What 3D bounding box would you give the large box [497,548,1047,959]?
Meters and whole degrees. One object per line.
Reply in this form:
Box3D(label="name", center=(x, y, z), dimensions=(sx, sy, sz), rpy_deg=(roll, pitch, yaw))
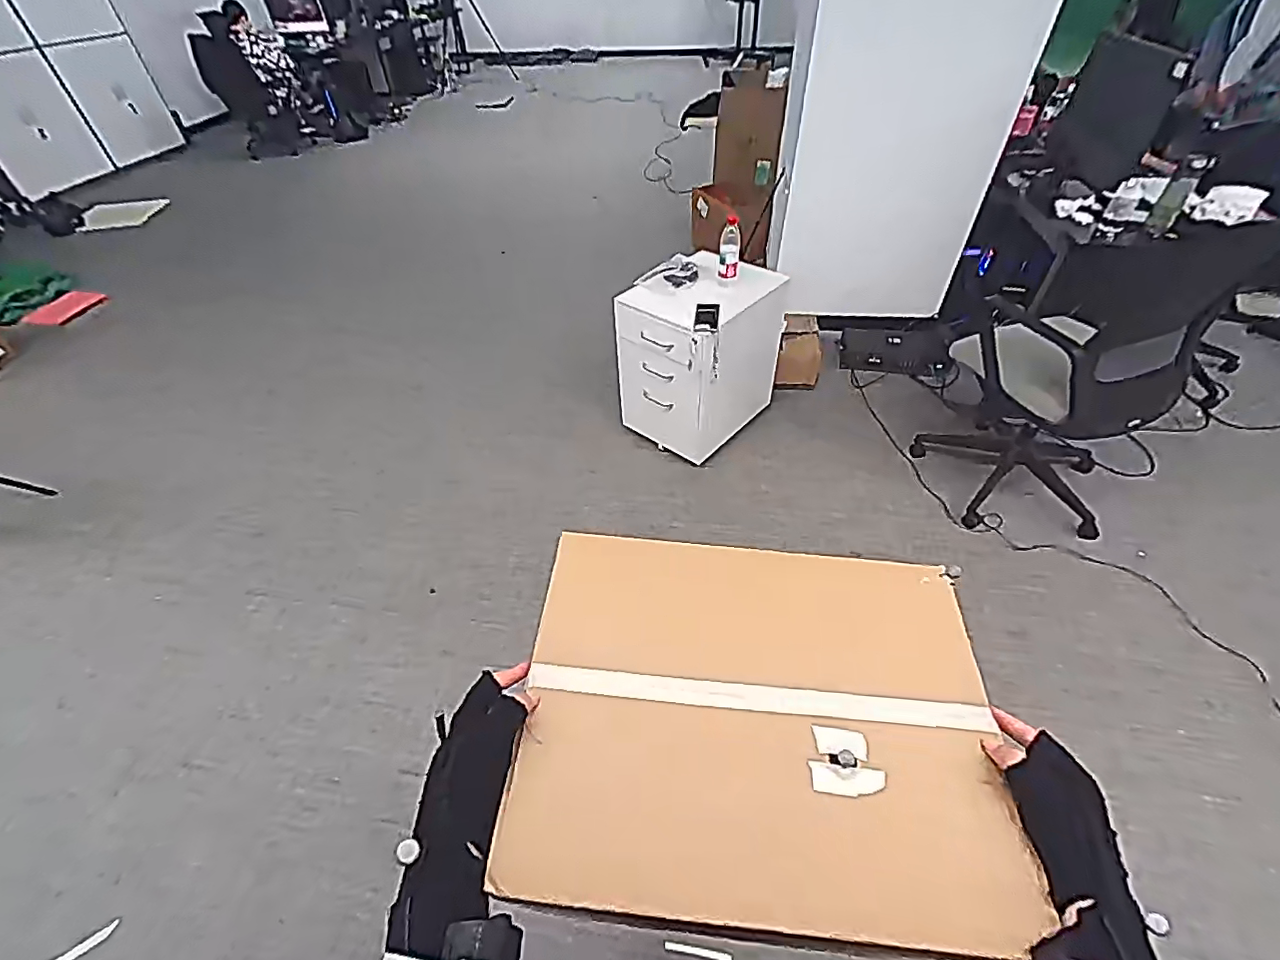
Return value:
Box3D(label="large box", center=(0.098, 0.300, 0.593), dimensions=(0.408, 0.320, 0.320), rpy_deg=(5, 51, 2))
